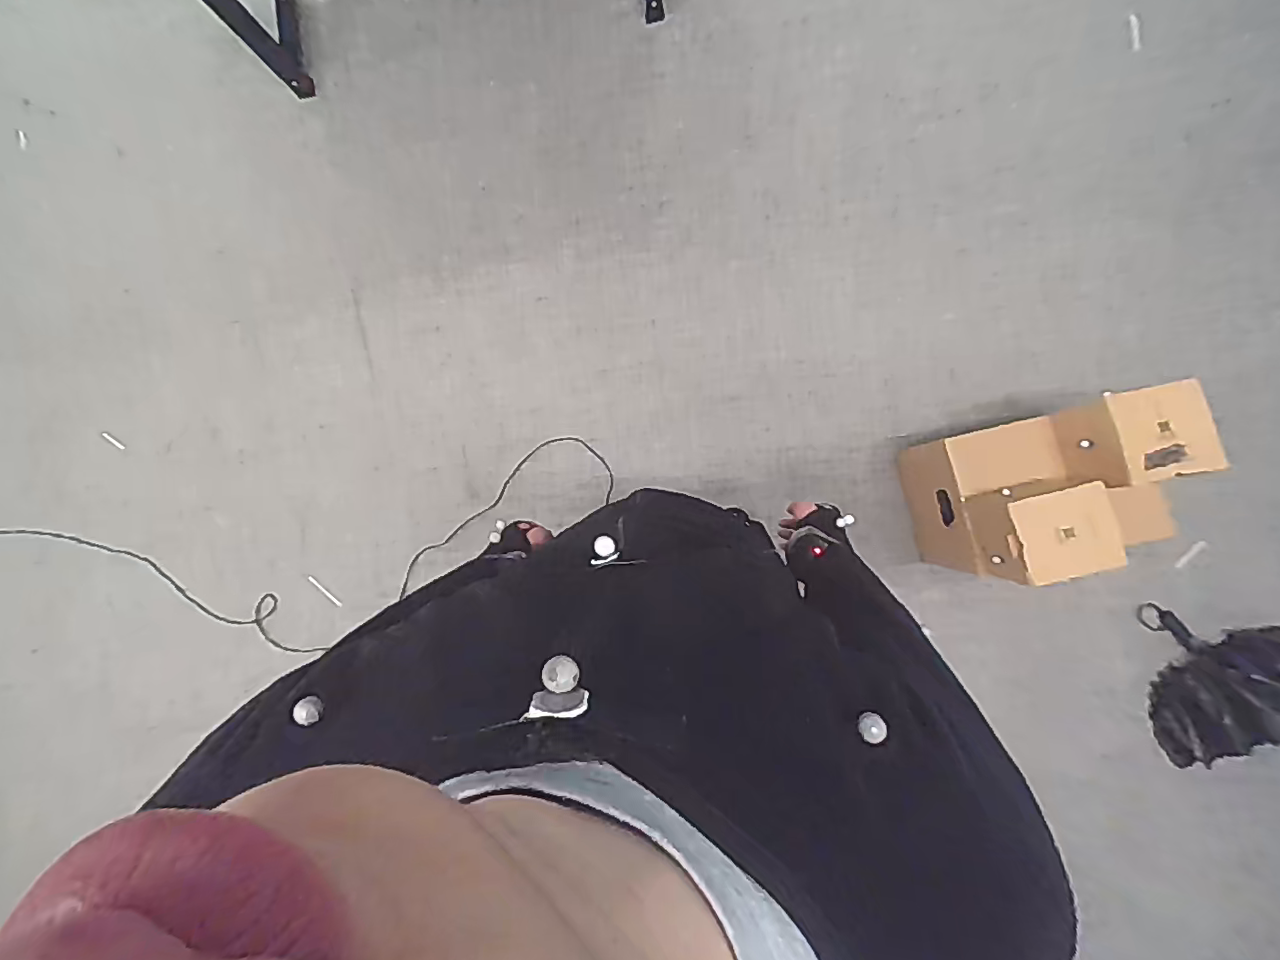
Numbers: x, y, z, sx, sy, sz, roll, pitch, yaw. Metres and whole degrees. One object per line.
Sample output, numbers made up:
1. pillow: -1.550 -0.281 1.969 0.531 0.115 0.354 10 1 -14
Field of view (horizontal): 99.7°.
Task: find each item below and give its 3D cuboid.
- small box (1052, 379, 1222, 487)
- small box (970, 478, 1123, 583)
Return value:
1. small box: 0.976 -0.083 1.080 0.168 0.176 0.179 -12 83 5
2. small box: 0.801 0.097 1.092 0.179 0.176 0.168 -16 89 4
